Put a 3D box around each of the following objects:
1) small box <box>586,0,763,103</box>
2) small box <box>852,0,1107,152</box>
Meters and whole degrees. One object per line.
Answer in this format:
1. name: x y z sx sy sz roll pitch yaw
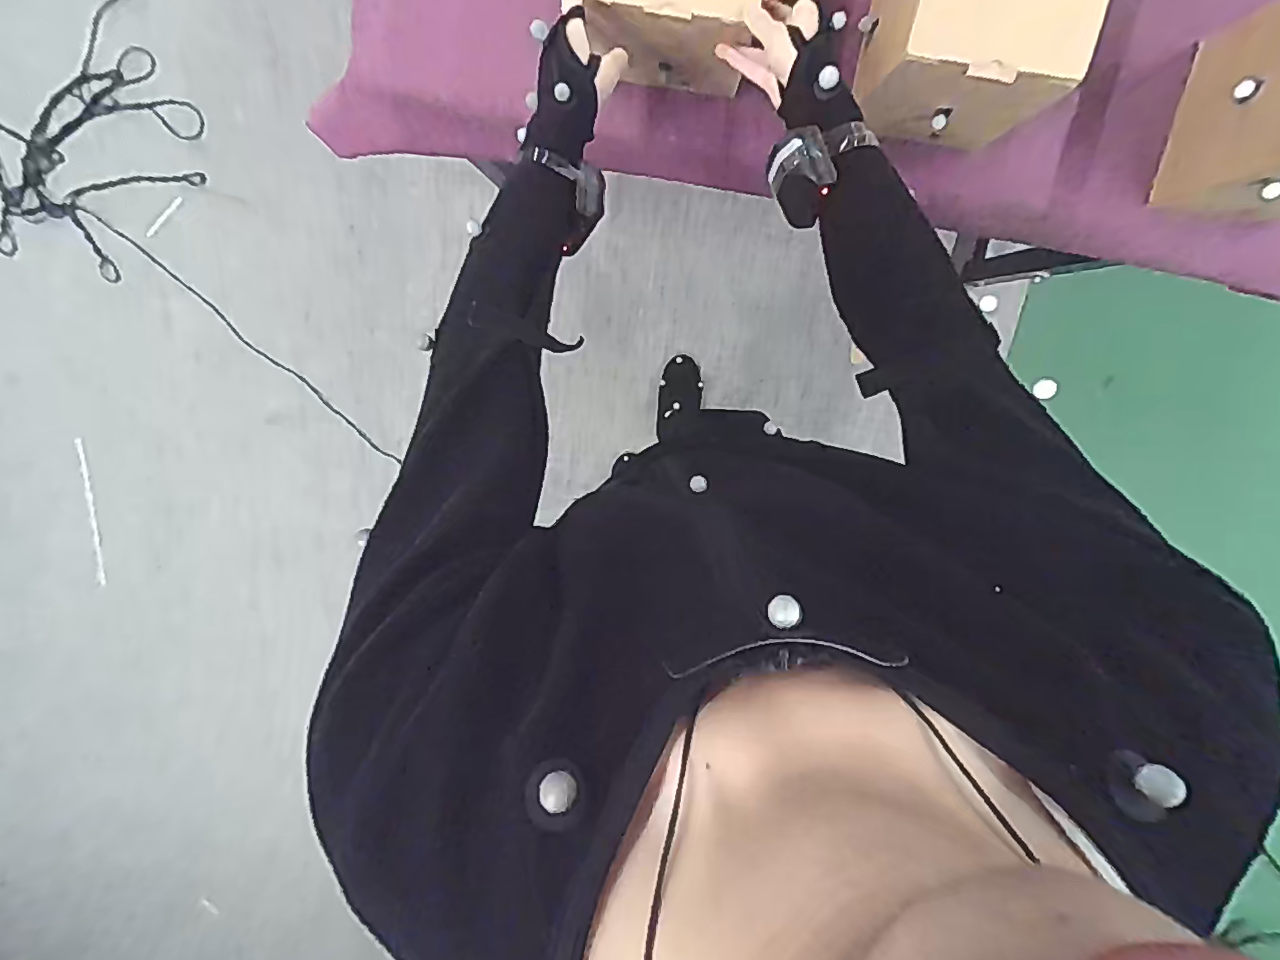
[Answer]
1. small box: 0.043 -0.523 0.544 0.168 0.176 0.179 9 106 0
2. small box: 0.336 -0.465 0.551 0.168 0.176 0.179 10 104 -1
